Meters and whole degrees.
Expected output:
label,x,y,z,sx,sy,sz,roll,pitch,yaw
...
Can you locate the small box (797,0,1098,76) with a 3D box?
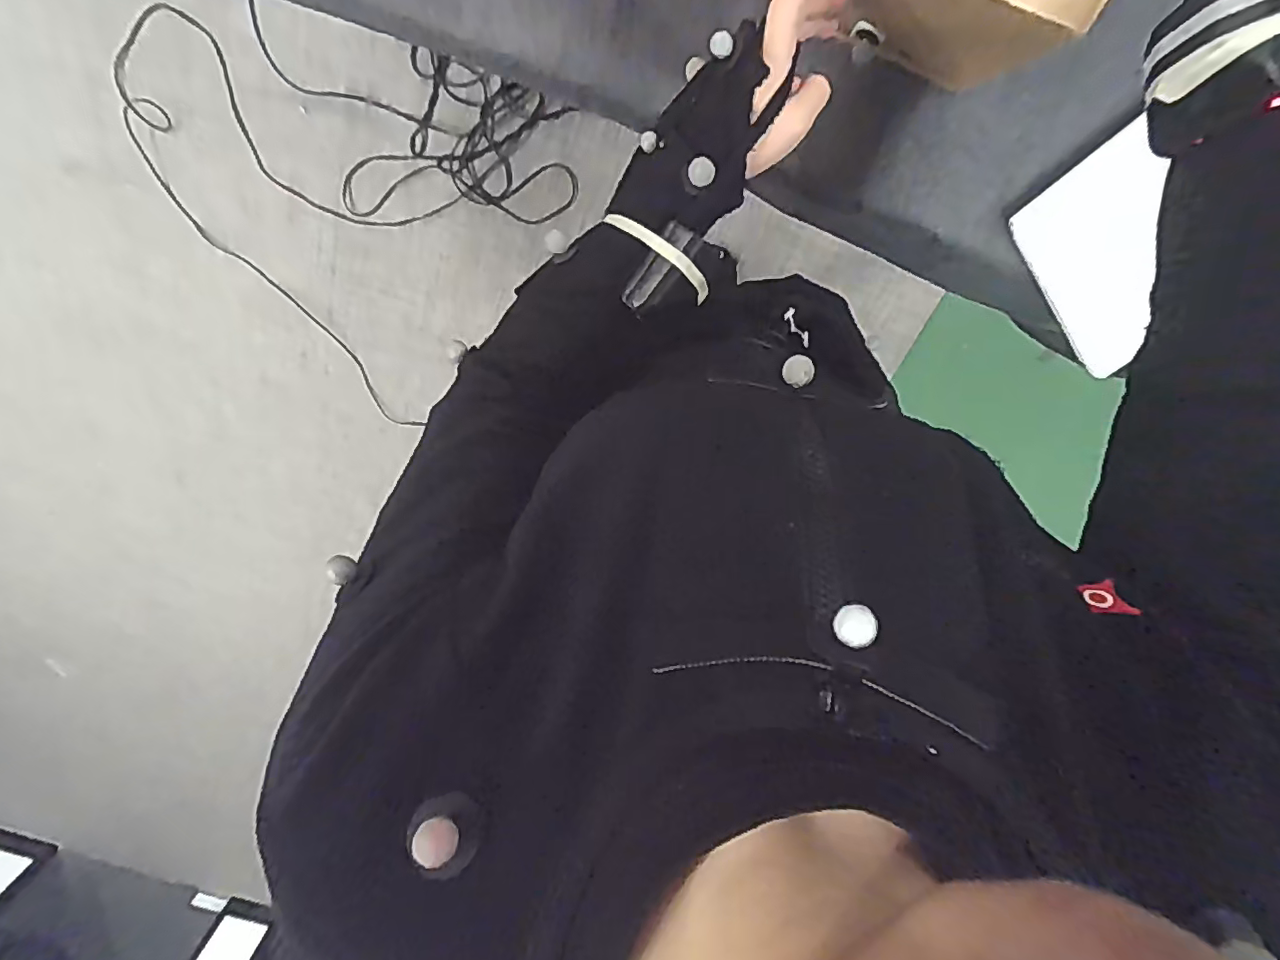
label,x,y,z,sx,sy,sz,roll,pitch,yaw
small box,0.210,-0.391,0.331,0.168,0.176,0.179,20,118,-3
